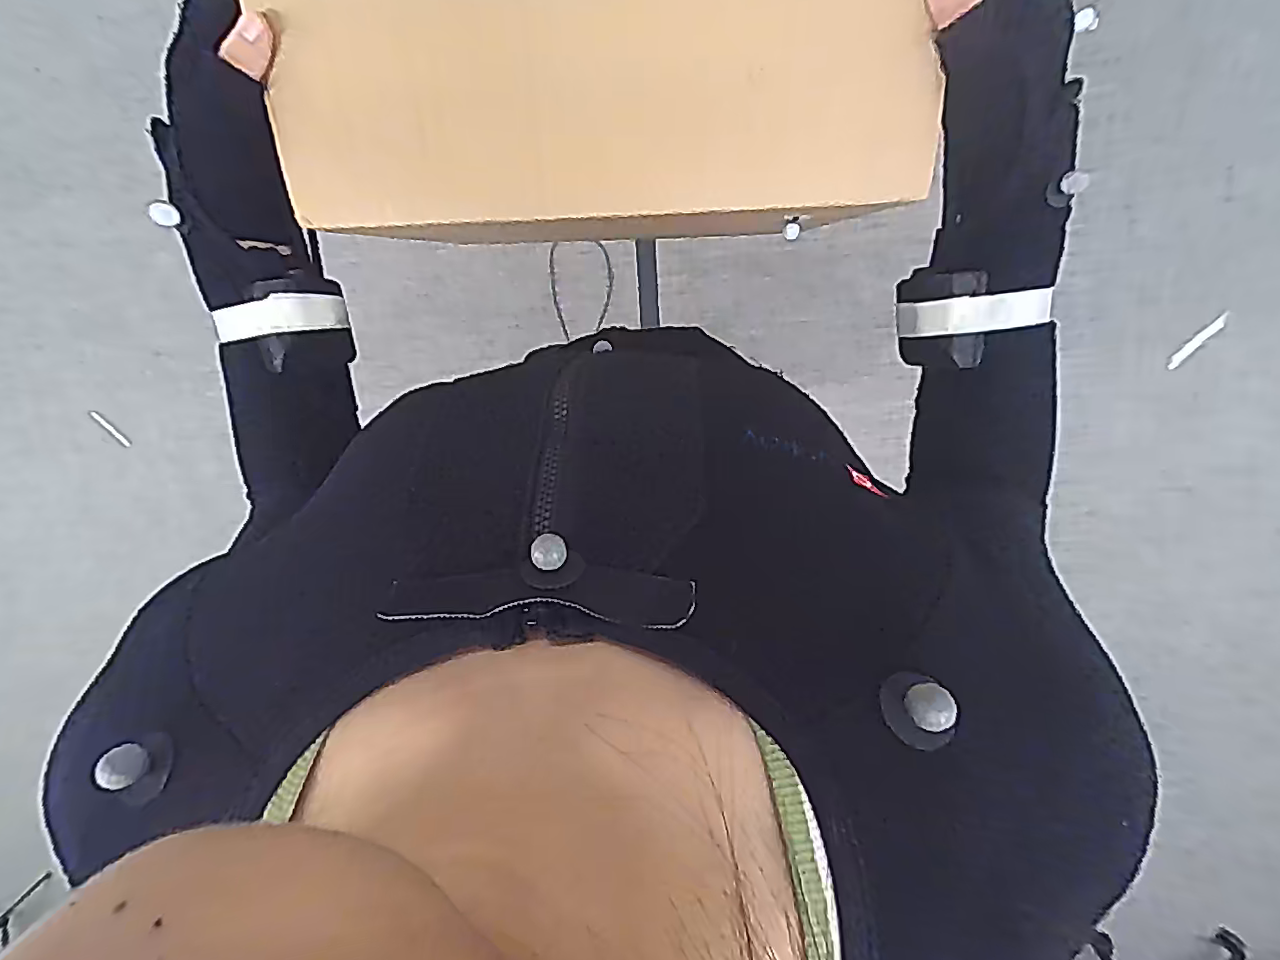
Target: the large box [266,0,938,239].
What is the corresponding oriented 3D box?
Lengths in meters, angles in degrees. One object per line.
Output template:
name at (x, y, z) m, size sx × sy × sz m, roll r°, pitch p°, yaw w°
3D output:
large box at (-0.019, -0.377, 0.440) m, size 0.408 × 0.320 × 0.320 m, roll -1°, pitch 111°, yaw 3°
